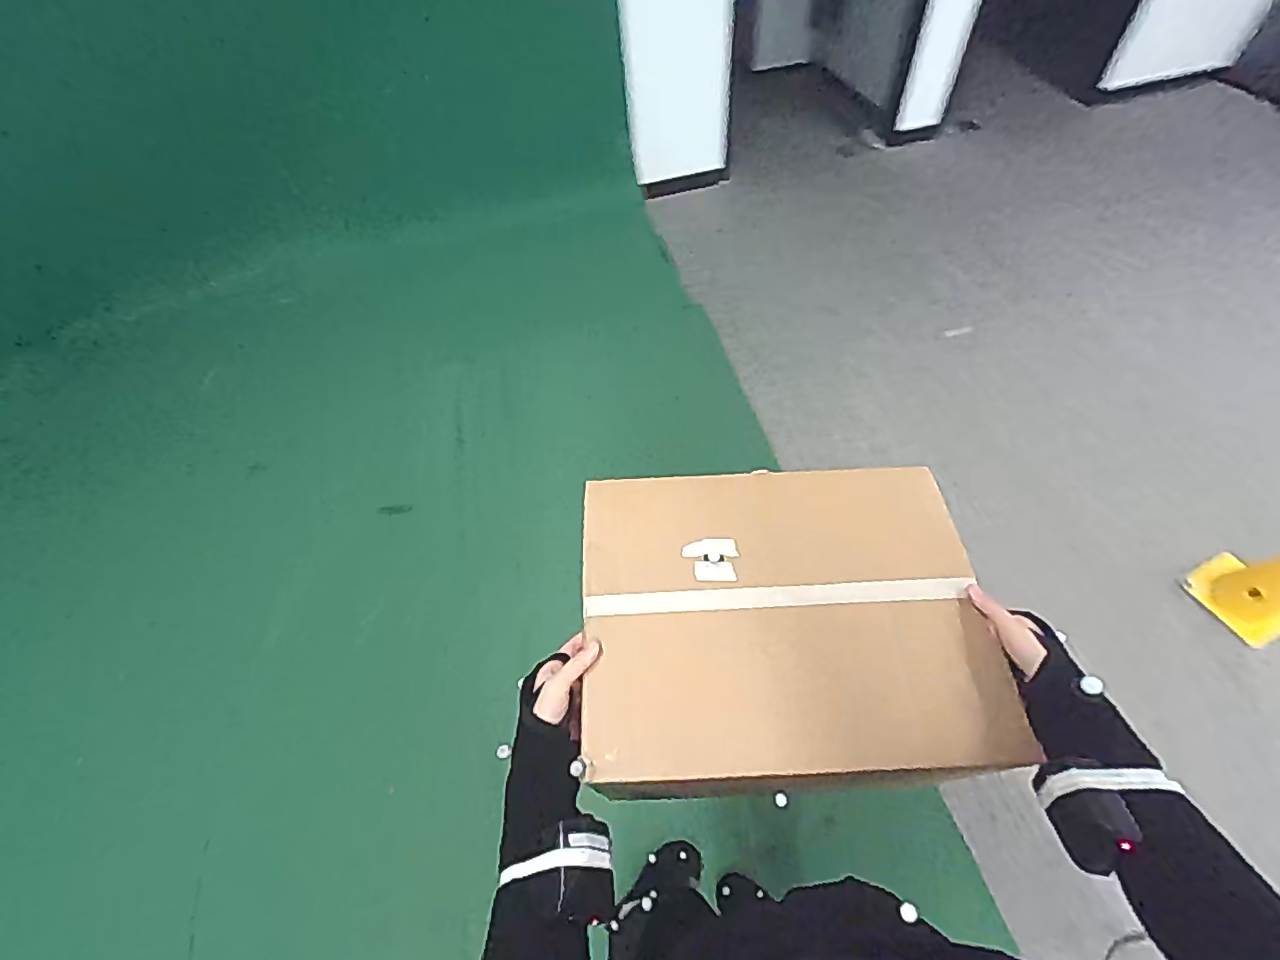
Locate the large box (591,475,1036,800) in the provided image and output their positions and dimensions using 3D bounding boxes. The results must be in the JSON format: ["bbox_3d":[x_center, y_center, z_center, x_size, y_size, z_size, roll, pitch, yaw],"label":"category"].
[{"bbox_3d":[0.158,0.214,0.685,0.408,0.320,0.320,-3,56,2],"label":"large box"}]
